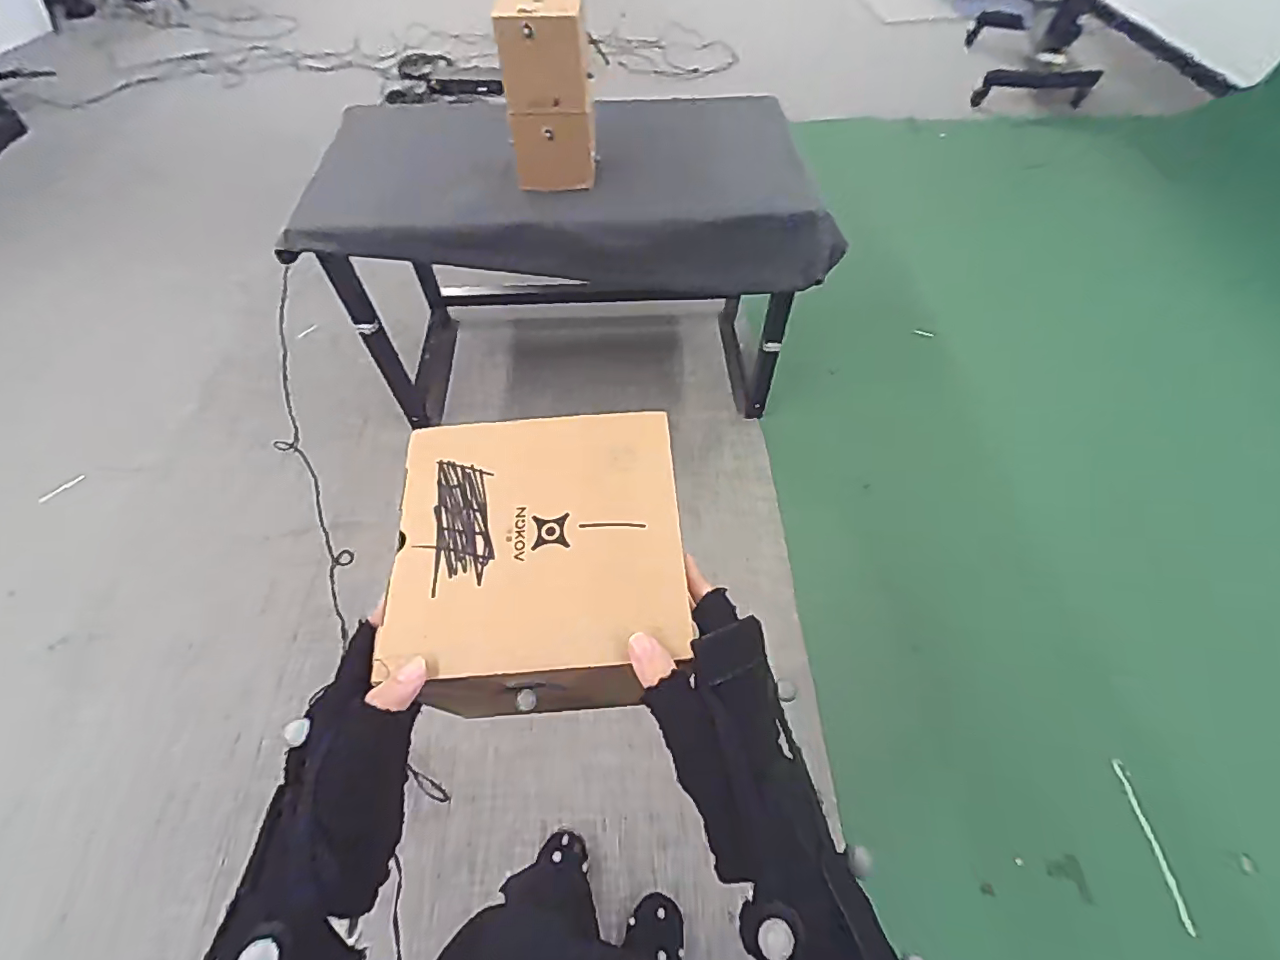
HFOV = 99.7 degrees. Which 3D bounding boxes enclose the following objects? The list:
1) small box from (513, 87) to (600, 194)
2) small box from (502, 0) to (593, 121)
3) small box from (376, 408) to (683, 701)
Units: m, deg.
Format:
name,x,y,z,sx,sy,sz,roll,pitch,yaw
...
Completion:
name,x,y,z,sx,sy,sz,roll,pitch,yaw
small box,-0.189,-0.797,1.271,0.179,0.176,0.168,0,57,-1
small box,-0.187,-0.888,1.138,0.168,0.176,0.179,-1,57,-2
small box,-0.064,0.065,0.409,0.179,0.176,0.168,-4,60,-2
